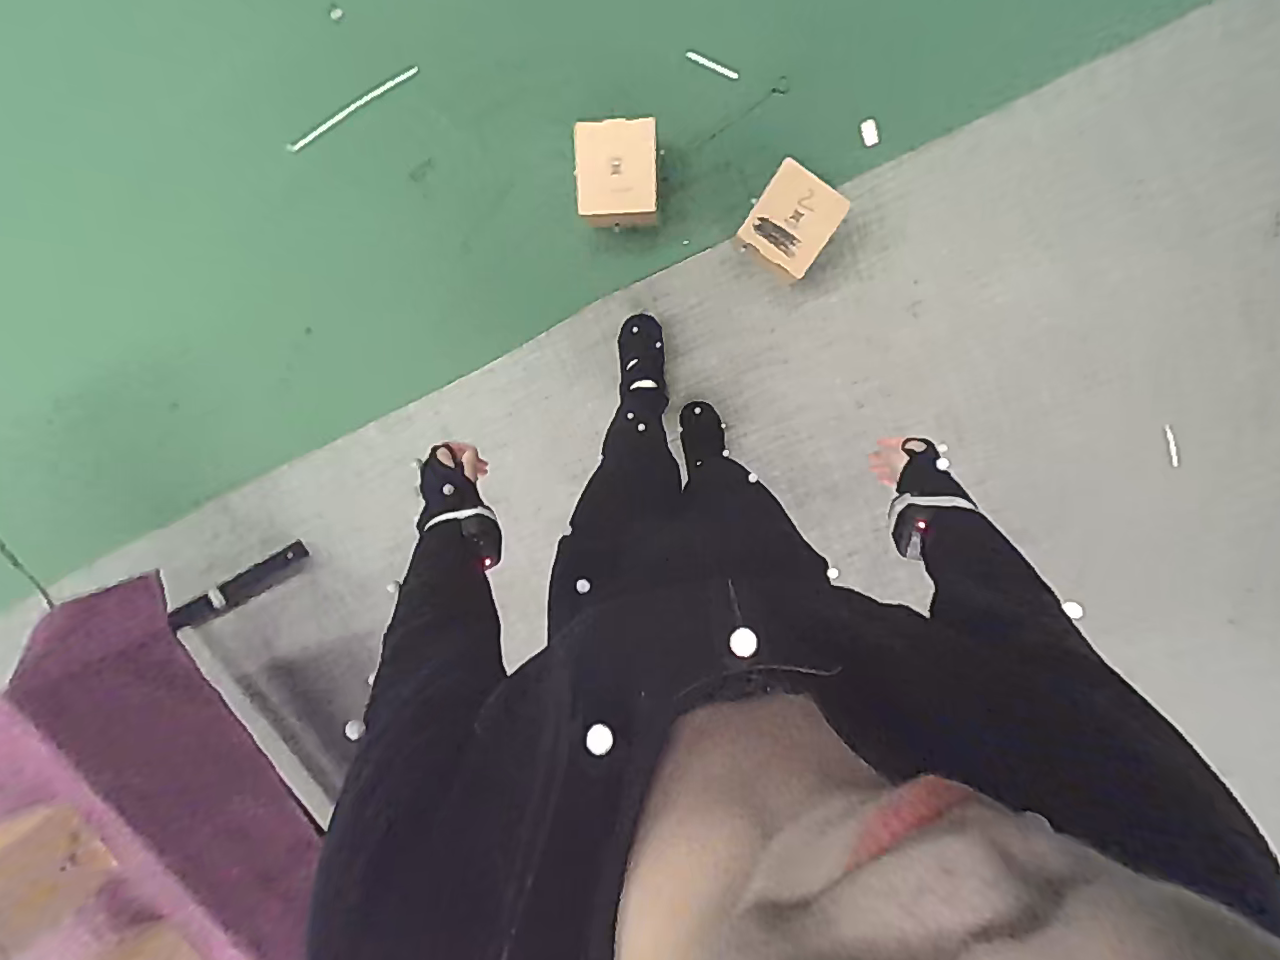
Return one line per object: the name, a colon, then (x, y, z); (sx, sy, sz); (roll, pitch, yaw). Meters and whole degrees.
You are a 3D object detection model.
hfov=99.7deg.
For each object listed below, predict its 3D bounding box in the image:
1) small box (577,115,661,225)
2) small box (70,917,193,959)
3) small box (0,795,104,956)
small box: (-0.043, -0.674, 1.191); (0.168, 0.176, 0.179); (1, 106, 6)
small box: (-0.972, 0.960, 0.994); (0.168, 0.176, 0.179); (-21, 103, 11)
small box: (-1.109, 0.687, 0.932); (0.179, 0.176, 0.168); (-20, 103, 11)
